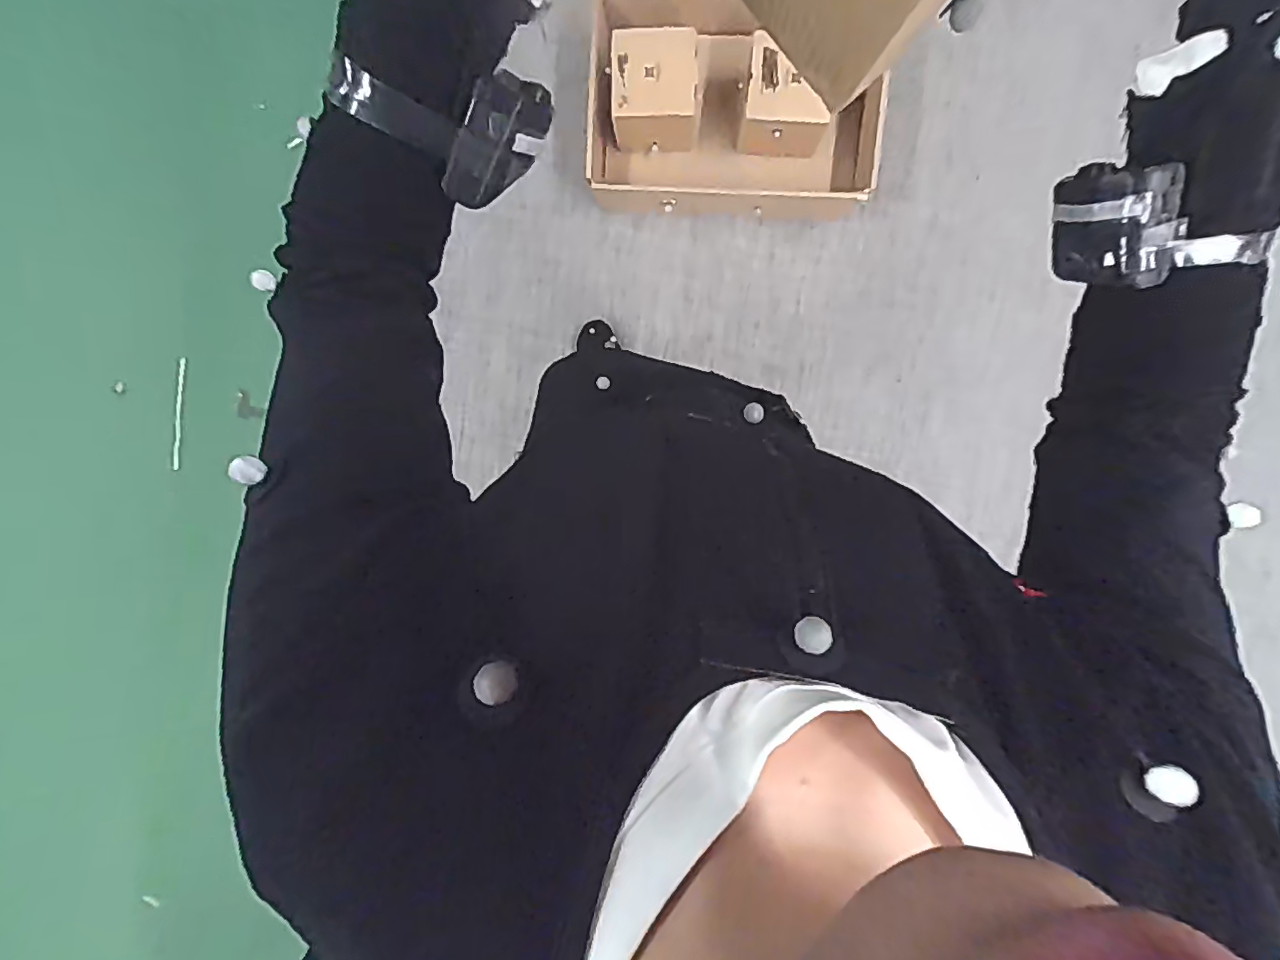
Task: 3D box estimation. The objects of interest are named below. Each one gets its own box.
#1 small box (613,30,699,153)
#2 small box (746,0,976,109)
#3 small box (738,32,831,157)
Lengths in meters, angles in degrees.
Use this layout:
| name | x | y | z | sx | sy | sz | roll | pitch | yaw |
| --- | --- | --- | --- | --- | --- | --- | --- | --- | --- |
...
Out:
| name | x | y | z | sx | sy | sz | roll | pitch | yaw |
| --- | --- | --- | --- | --- | --- | --- | --- | --- | --- |
| small box | 0.034 | -0.845 | 1.190 | 0.179 | 0.176 | 0.168 | 1 | 98 | 2 |
| small box | 0.127 | -0.330 | 0.248 | 0.168 | 0.176 | 0.179 | -42 | 96 | 6 |
| small box | 0.314 | -0.826 | 1.174 | 0.179 | 0.176 | 0.168 | 6 | 100 | 4 |
